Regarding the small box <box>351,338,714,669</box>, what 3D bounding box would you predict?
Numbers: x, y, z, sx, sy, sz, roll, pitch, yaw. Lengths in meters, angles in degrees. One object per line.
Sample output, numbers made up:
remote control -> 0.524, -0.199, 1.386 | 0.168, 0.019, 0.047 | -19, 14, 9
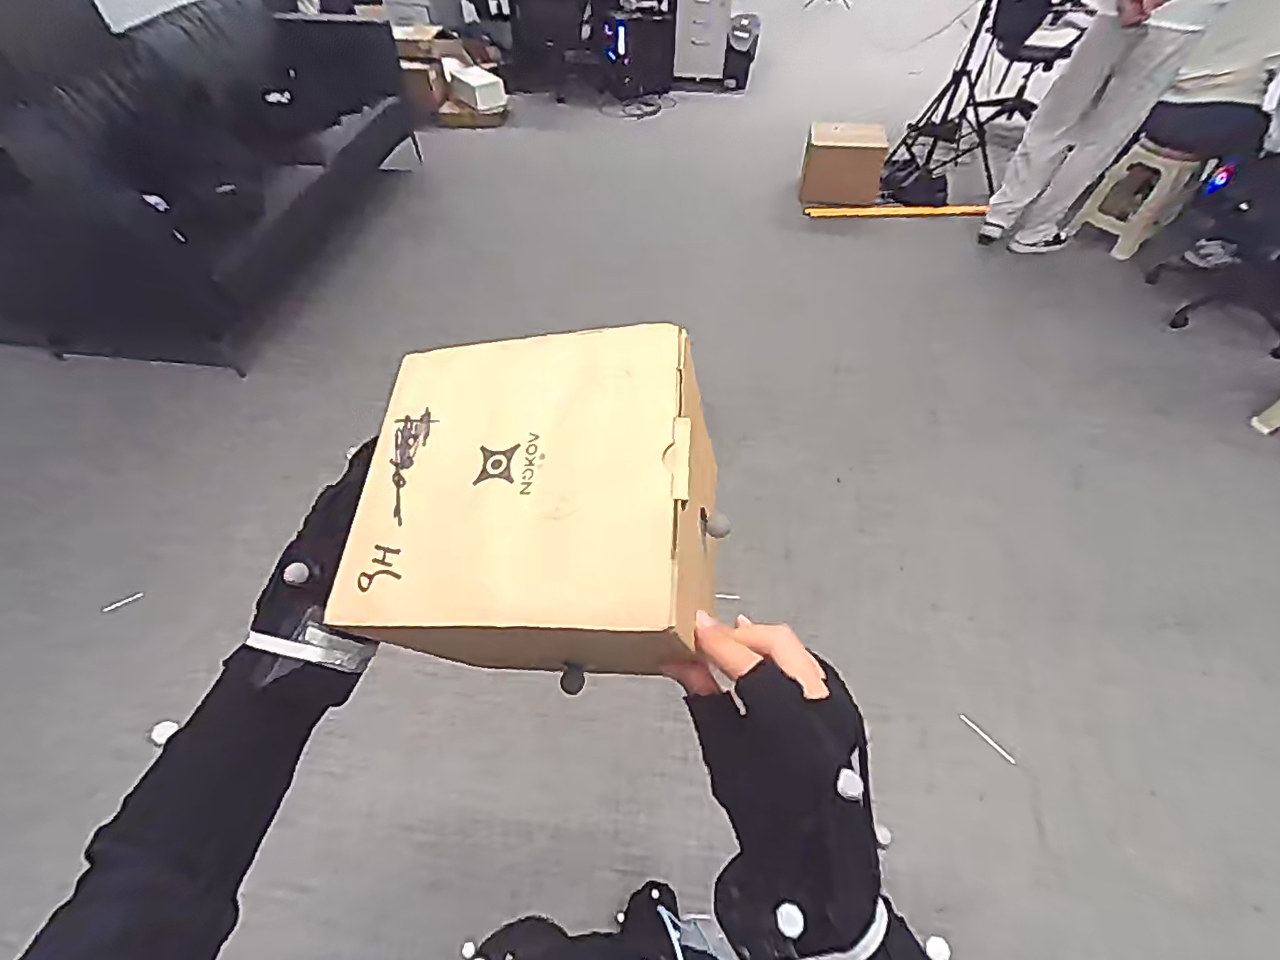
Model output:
small box -> -0.043, 0.029, 0.361 | 0.179, 0.176, 0.168 | -2, 63, 12
